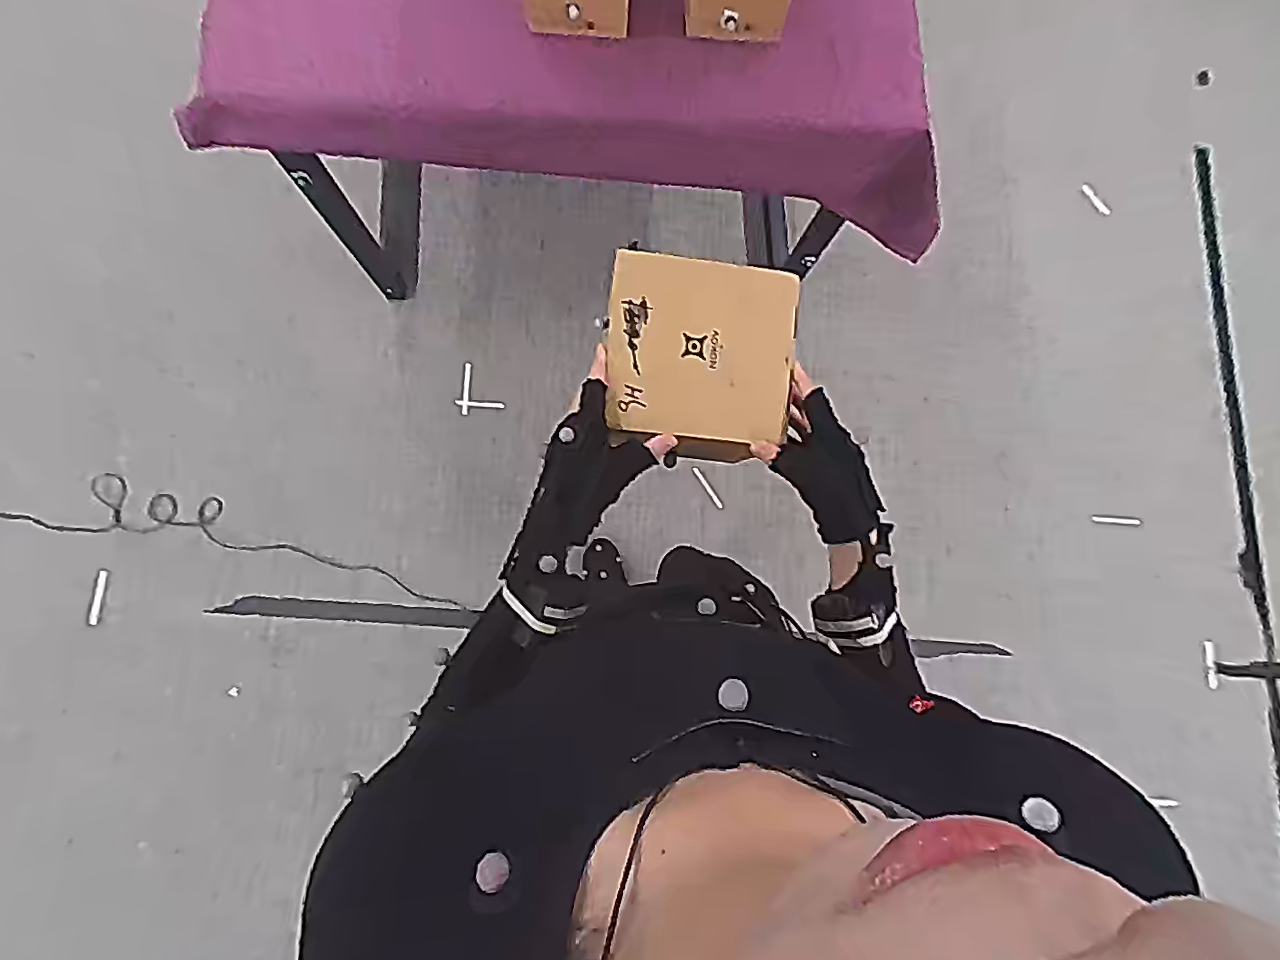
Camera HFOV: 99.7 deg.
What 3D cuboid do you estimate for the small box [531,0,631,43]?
[{"bbox_3d":[-0.095,-0.853,0.860,0.168,0.176,0.179,1,82,-4],"label":"small box"}]

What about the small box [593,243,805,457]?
[{"bbox_3d":[0.050,-0.119,0.568,0.179,0.176,0.168,6,86,-8],"label":"small box"}]

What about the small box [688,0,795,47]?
[{"bbox_3d":[0.170,-0.865,0.884,0.168,0.176,0.179,-1,82,-3],"label":"small box"}]
